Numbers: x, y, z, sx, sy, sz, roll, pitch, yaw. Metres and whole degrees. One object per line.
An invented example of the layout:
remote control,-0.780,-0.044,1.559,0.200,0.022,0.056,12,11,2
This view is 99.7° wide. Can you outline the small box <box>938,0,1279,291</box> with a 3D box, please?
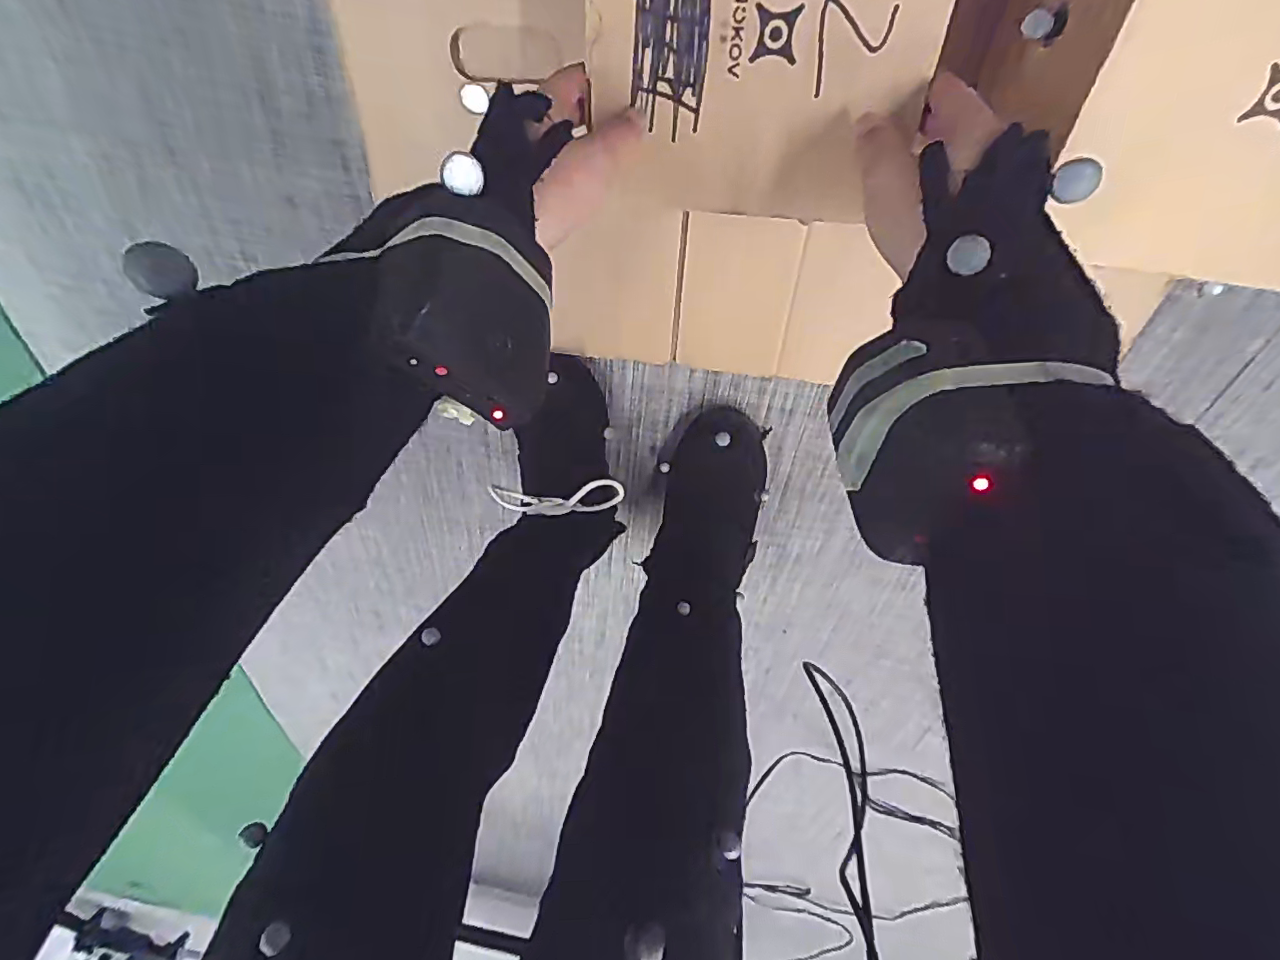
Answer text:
small box,0.309,-0.225,0.316,0.179,0.176,0.168,9,128,4
